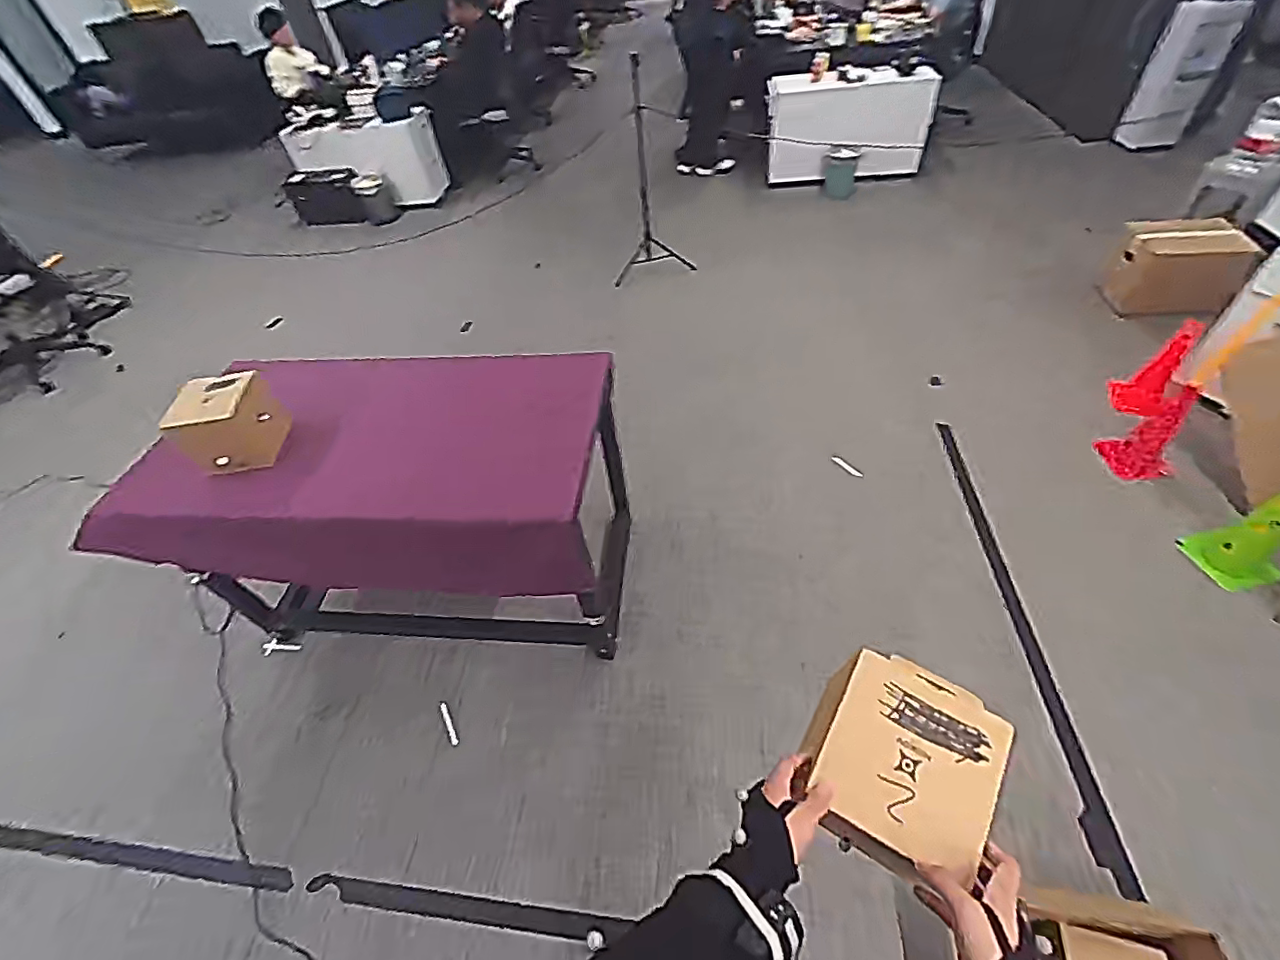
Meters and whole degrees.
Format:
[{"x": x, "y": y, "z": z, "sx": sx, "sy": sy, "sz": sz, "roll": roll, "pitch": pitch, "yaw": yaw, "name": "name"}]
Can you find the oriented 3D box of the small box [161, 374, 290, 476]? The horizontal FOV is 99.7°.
[{"x": -1.008, "y": -0.134, "z": 1.338, "sx": 0.168, "sy": 0.176, "sz": 0.179, "roll": -10, "pitch": 49, "yaw": -1, "name": "small box"}]
